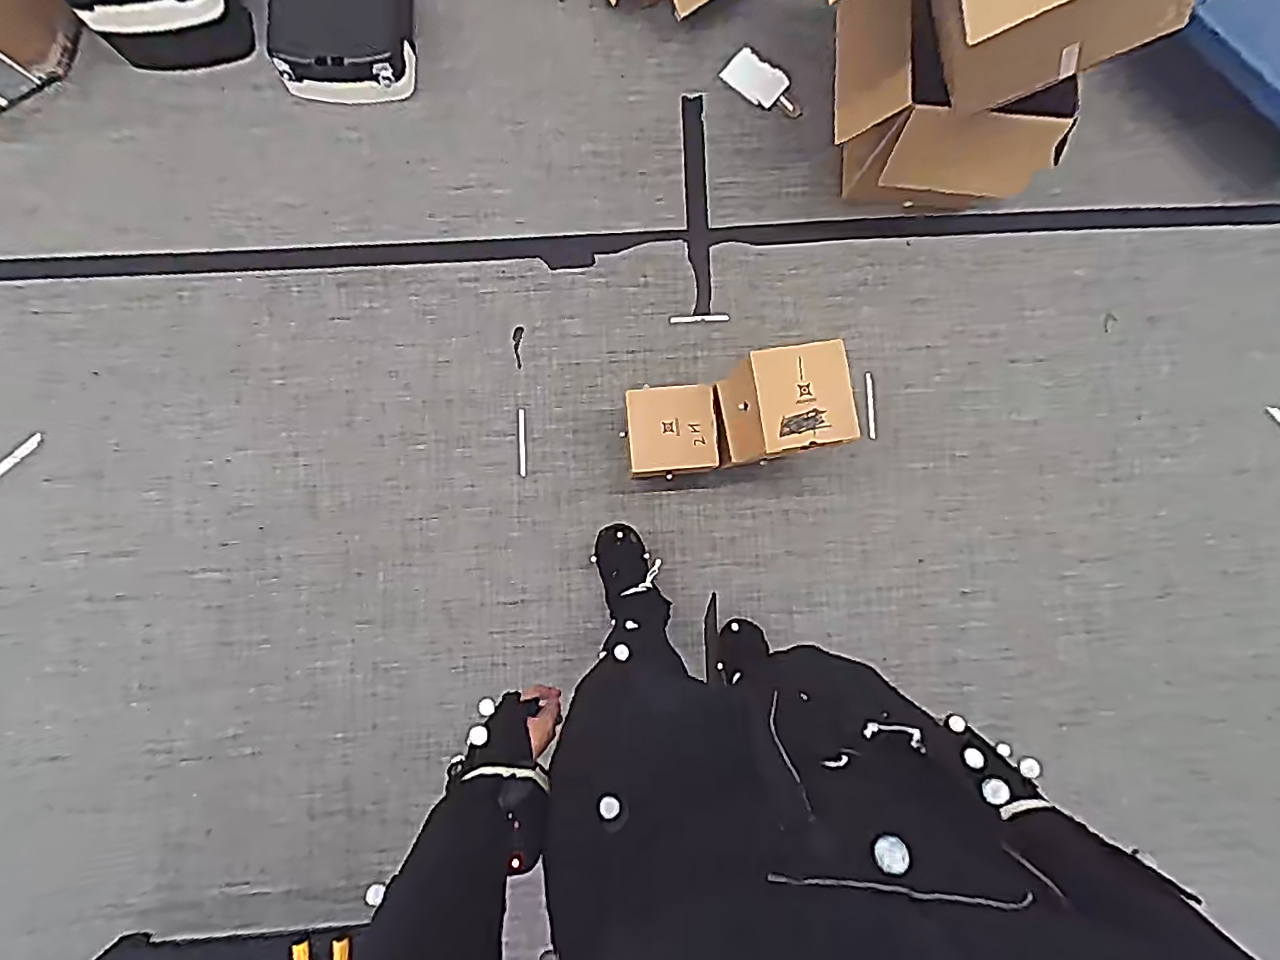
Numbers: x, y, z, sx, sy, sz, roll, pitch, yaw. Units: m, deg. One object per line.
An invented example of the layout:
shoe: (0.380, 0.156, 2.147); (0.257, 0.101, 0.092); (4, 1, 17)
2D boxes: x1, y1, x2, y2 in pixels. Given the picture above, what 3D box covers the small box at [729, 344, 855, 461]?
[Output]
small box: (0.269, -0.131, 0.990); (0.168, 0.176, 0.179); (-8, 86, -3)
